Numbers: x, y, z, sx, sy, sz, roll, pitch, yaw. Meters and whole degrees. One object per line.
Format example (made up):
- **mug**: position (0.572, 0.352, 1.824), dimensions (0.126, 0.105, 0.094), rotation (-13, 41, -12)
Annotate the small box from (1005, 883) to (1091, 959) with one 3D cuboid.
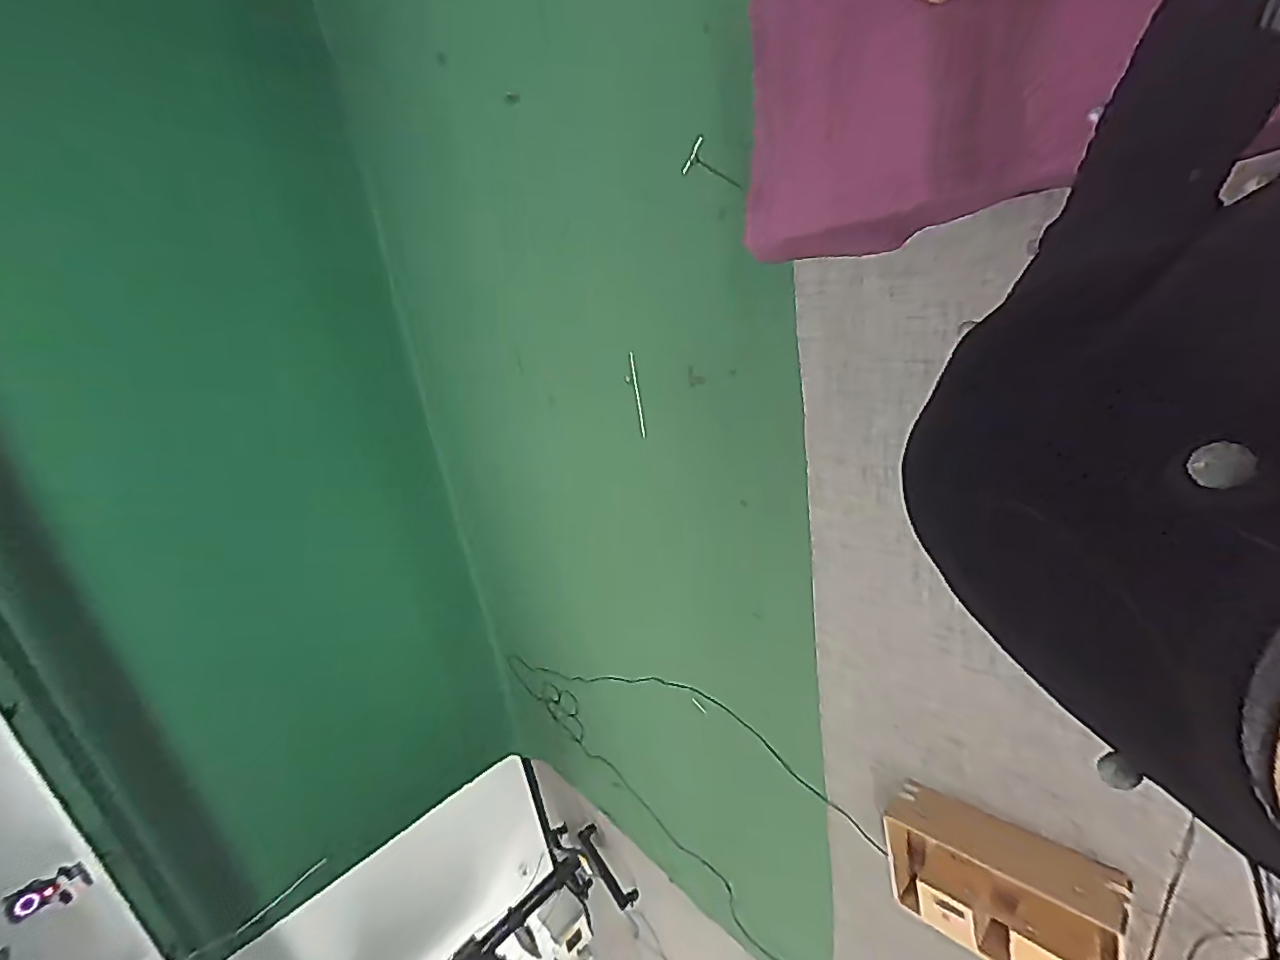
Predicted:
- **small box**: position (1.202, 1.349, 1.591), dimensions (0.179, 0.176, 0.168), rotation (5, 111, 50)
